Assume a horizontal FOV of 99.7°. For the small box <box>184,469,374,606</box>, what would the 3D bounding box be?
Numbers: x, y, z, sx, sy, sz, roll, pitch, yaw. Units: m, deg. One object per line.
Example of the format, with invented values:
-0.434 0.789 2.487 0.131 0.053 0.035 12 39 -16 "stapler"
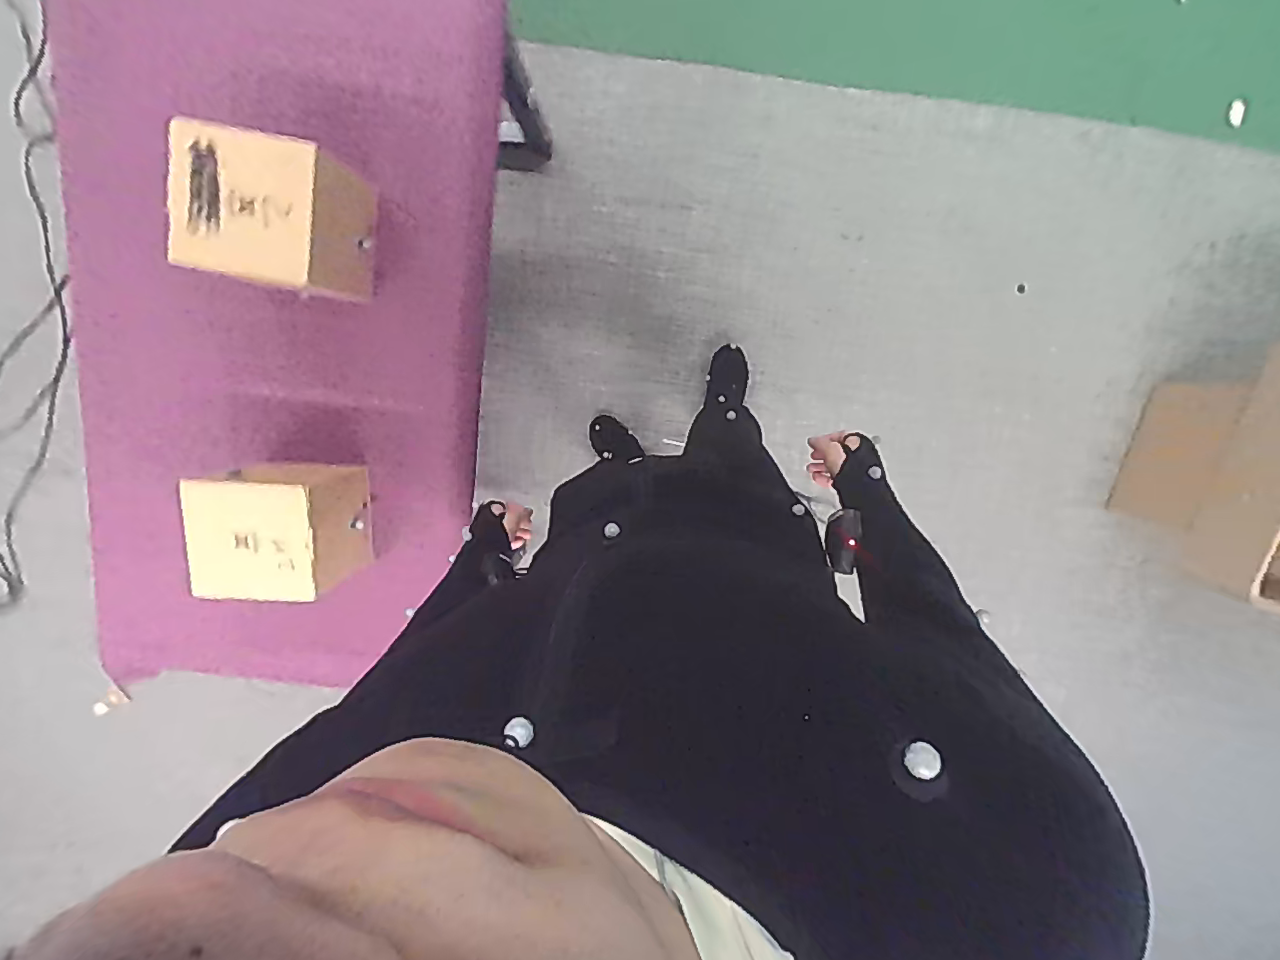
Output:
-0.533 0.078 0.822 0.179 0.176 0.168 2 100 1 "small box"
